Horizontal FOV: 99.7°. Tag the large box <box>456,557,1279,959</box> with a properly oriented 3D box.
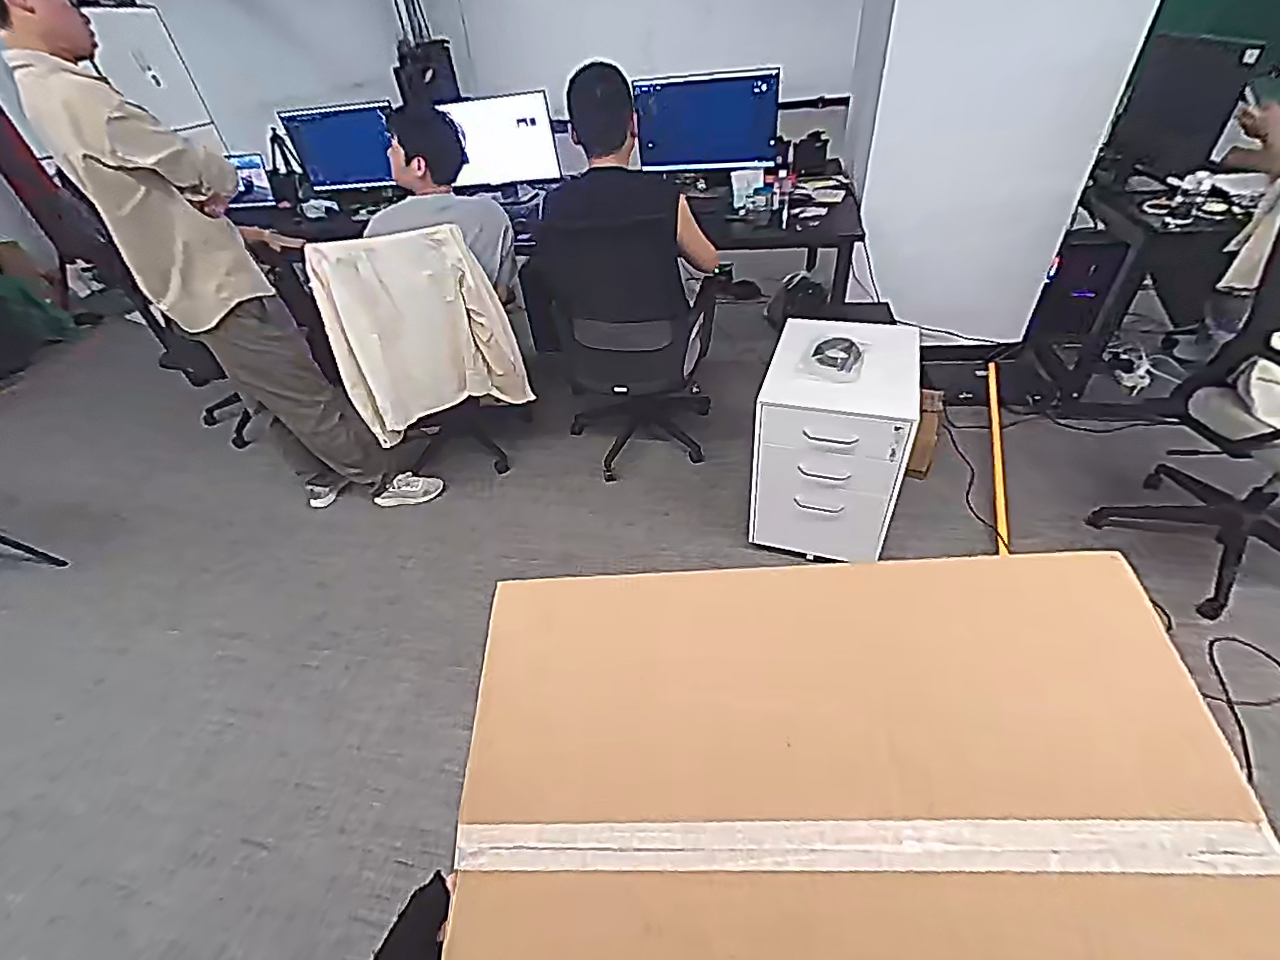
[{"bbox_3d":[0.119,0.276,0.409,0.408,0.320,0.320,-4,57,6],"label":"large box"}]
